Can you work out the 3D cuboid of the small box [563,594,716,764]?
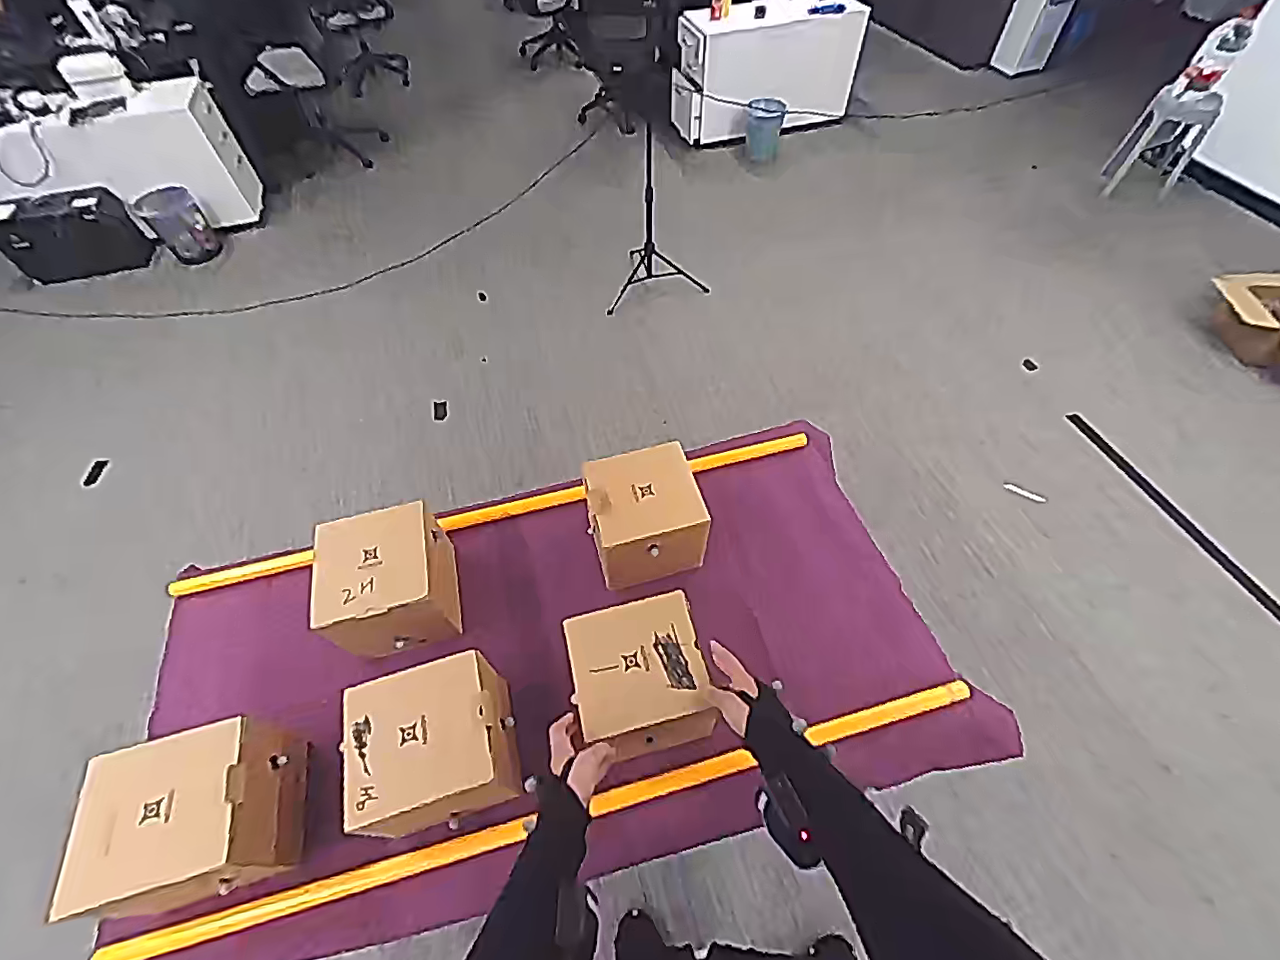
[{"bbox_3d":[-0.003,0.289,0.779,0.179,0.176,0.168,-13,54,-6],"label":"small box"}]

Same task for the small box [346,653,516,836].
[{"bbox_3d":[-0.275,0.362,0.737,0.179,0.176,0.168,-15,55,-10],"label":"small box"}]

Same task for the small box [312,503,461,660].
[{"bbox_3d":[-0.401,0.168,0.879,0.168,0.176,0.179,-14,57,-8],"label":"small box"}]

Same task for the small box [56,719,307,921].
[{"bbox_3d":[-0.559,0.431,0.695,0.179,0.176,0.168,-14,55,-10],"label":"small box"}]

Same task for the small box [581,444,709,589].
[{"bbox_3d":[0.005,0.067,0.938,0.179,0.176,0.168,-14,57,-7],"label":"small box"}]
